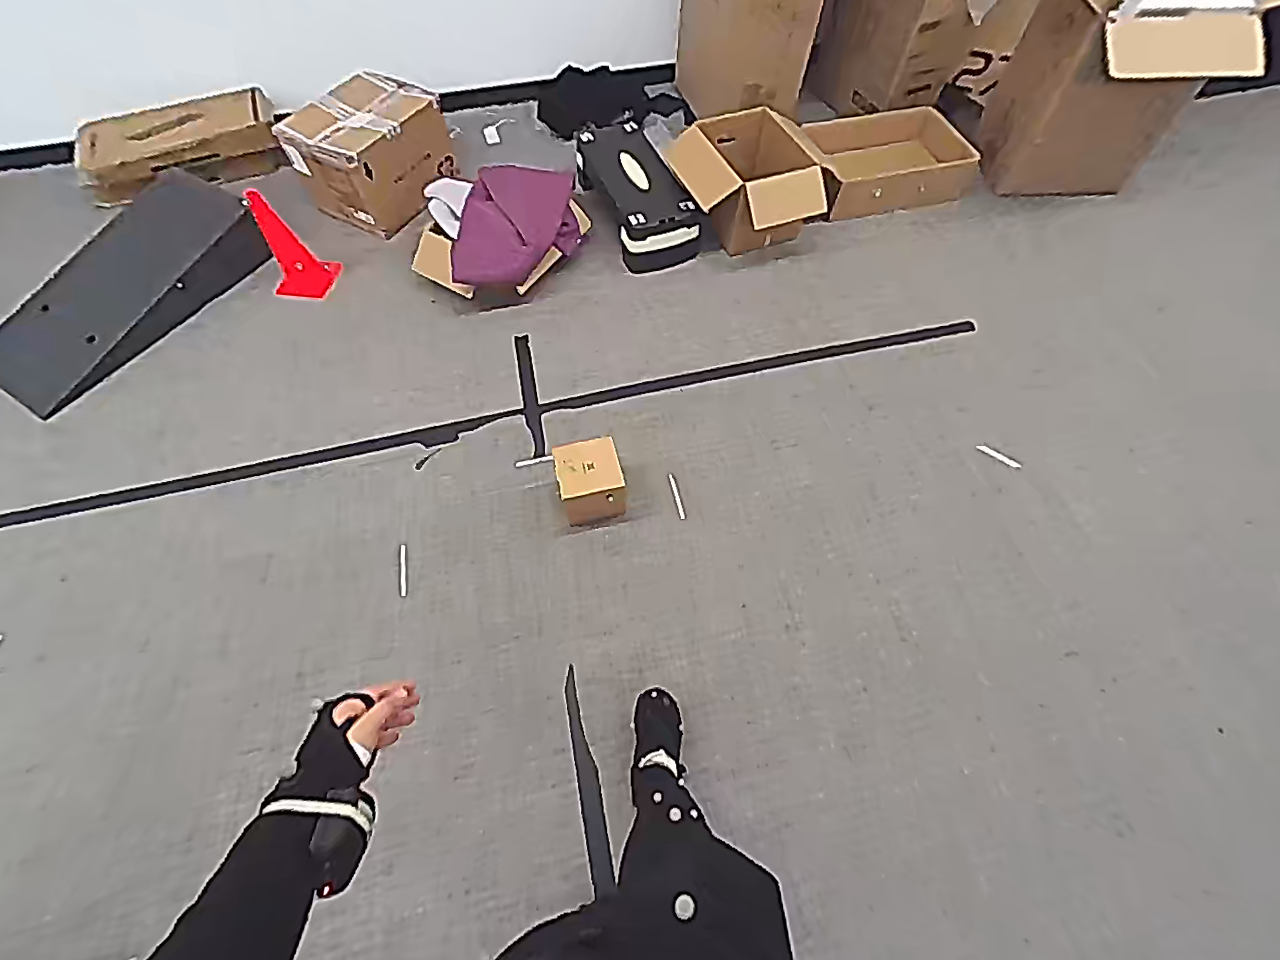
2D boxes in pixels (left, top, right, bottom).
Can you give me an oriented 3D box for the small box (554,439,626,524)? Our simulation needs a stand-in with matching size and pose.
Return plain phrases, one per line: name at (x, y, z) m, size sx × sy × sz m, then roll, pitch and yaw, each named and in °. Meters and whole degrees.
small box at (-0.141, 0.008, 1.549) m, size 0.179 × 0.176 × 0.168 m, roll -13°, pitch 62°, yaw -7°
